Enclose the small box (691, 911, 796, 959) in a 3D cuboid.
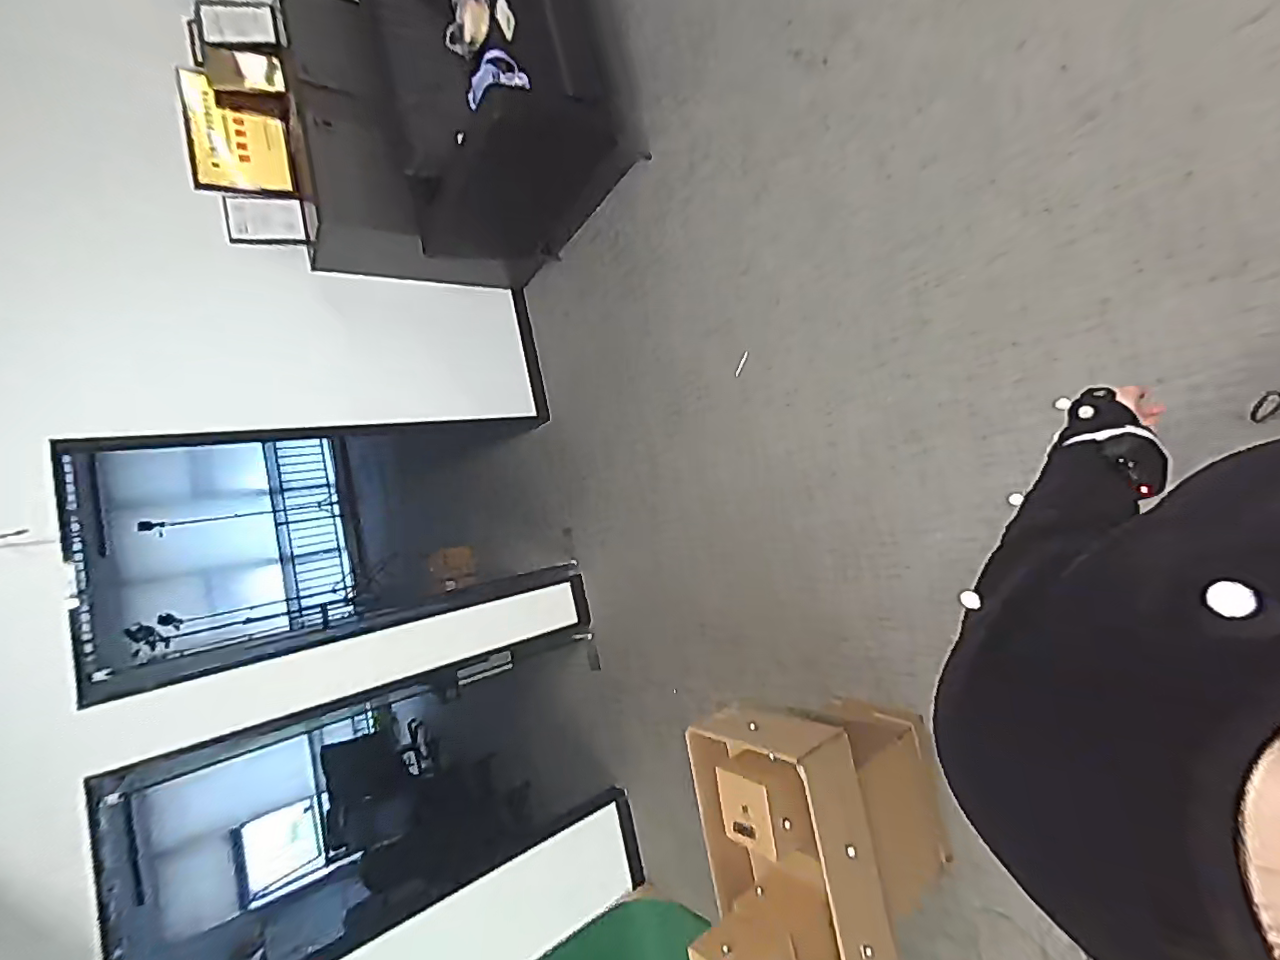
[{"bbox_3d":[0.247,1.125,1.217,0.179,0.176,0.168,-23,77,53],"label":"small box"}]
